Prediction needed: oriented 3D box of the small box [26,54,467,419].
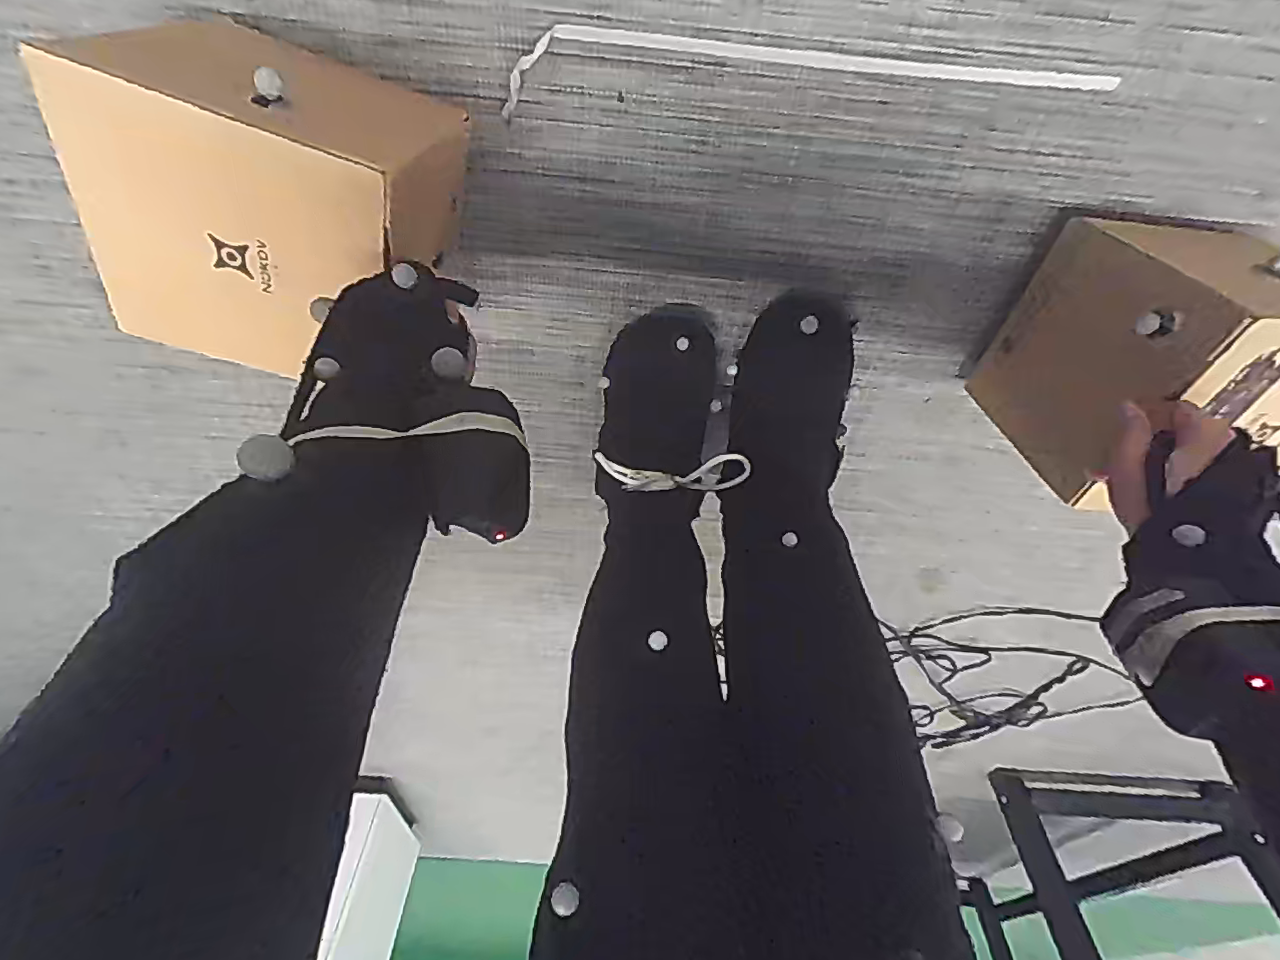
[{"bbox_3d":[-0.242,-0.176,0.390,0.179,0.176,0.168,15,132,-12],"label":"small box"}]
